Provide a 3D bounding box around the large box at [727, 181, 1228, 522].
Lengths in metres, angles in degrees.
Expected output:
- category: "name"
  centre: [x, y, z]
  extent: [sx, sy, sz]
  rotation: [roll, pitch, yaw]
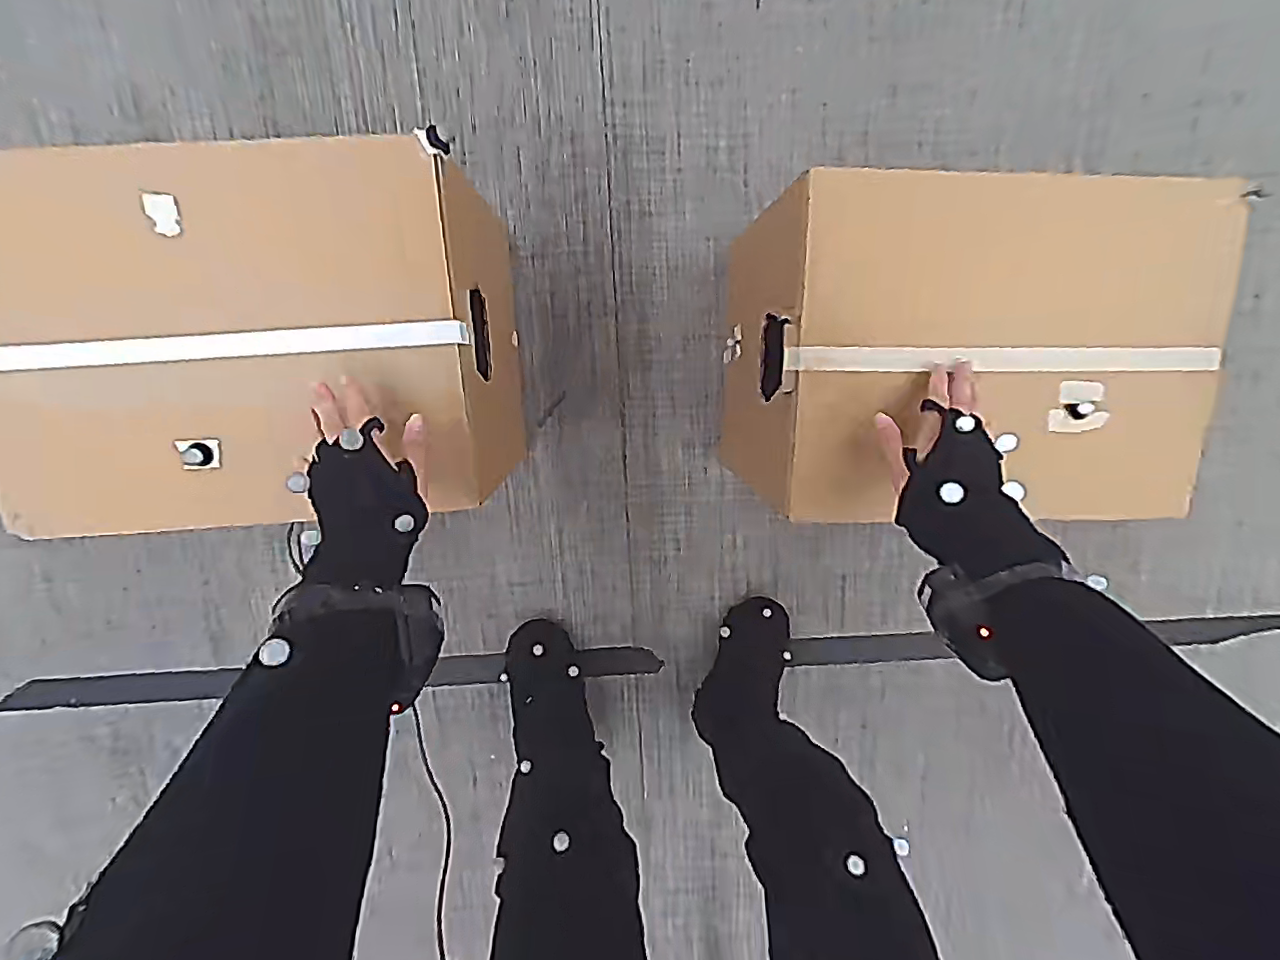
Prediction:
- category: "large box"
  centre: [0.335, -0.140, 0.658]
  extent: [0.408, 0.320, 0.320]
  rotation: [0, 101, -4]
